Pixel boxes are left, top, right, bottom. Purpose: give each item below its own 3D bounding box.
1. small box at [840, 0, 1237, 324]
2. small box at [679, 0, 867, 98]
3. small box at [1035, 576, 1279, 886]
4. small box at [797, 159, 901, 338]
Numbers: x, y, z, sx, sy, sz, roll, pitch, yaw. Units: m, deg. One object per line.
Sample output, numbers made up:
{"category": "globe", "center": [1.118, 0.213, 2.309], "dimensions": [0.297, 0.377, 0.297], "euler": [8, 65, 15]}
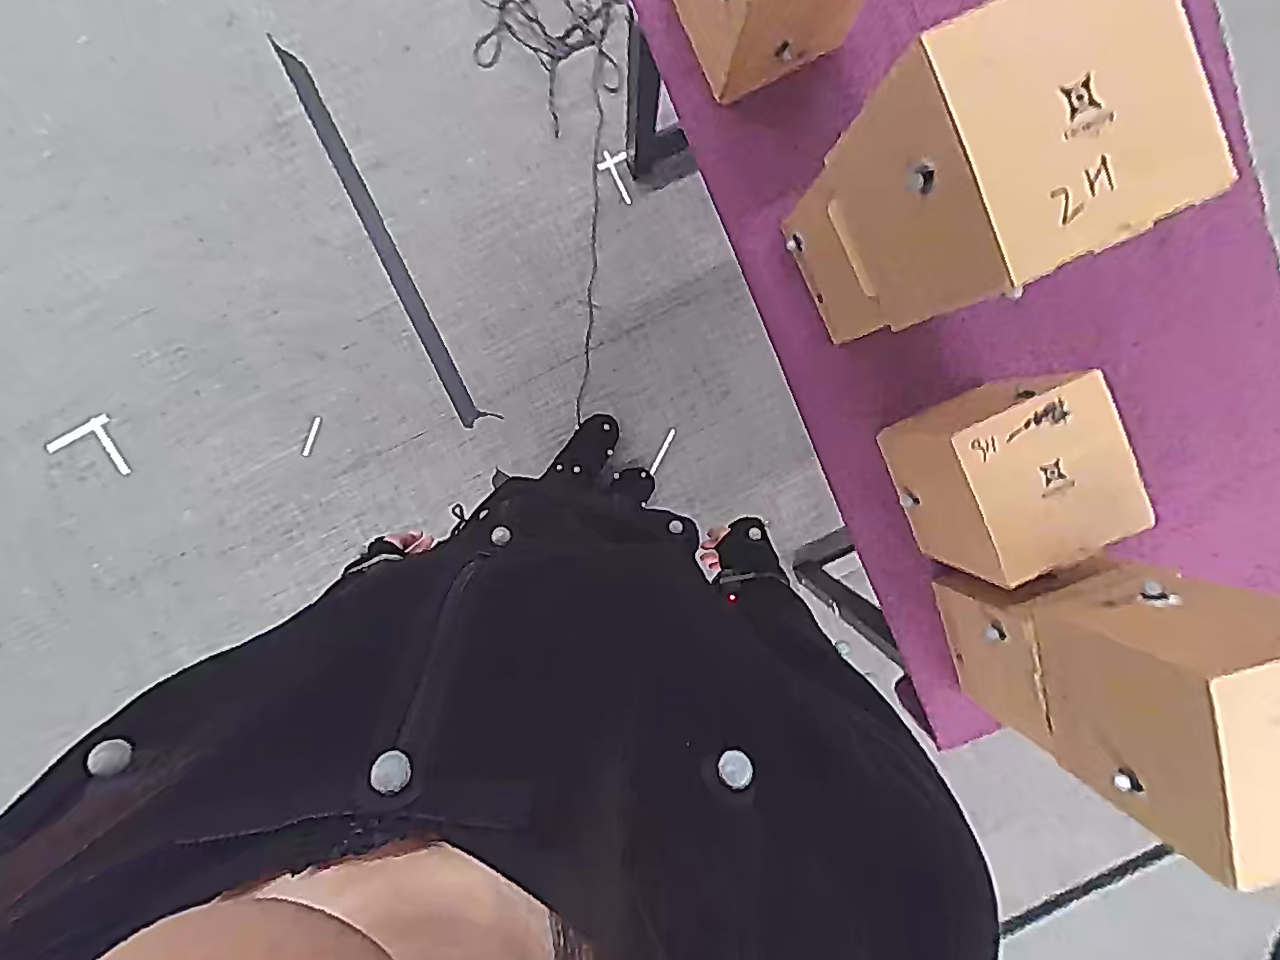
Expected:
{"category": "small box", "center": [0.290, -0.248, 0.434], "dimensions": [0.168, 0.176, 0.179], "euler": [-25, 97, 1]}
{"category": "small box", "center": [0.139, -0.559, 0.564], "dimensions": [0.168, 0.176, 0.179], "euler": [-27, 97, 1]}
{"category": "small box", "center": [0.505, 0.204, 0.489], "dimensions": [0.168, 0.176, 0.179], "euler": [-13, 94, -3]}
{"category": "small box", "center": [0.294, -0.275, 0.598], "dimensions": [0.179, 0.176, 0.168], "euler": [-27, 96, 0]}
